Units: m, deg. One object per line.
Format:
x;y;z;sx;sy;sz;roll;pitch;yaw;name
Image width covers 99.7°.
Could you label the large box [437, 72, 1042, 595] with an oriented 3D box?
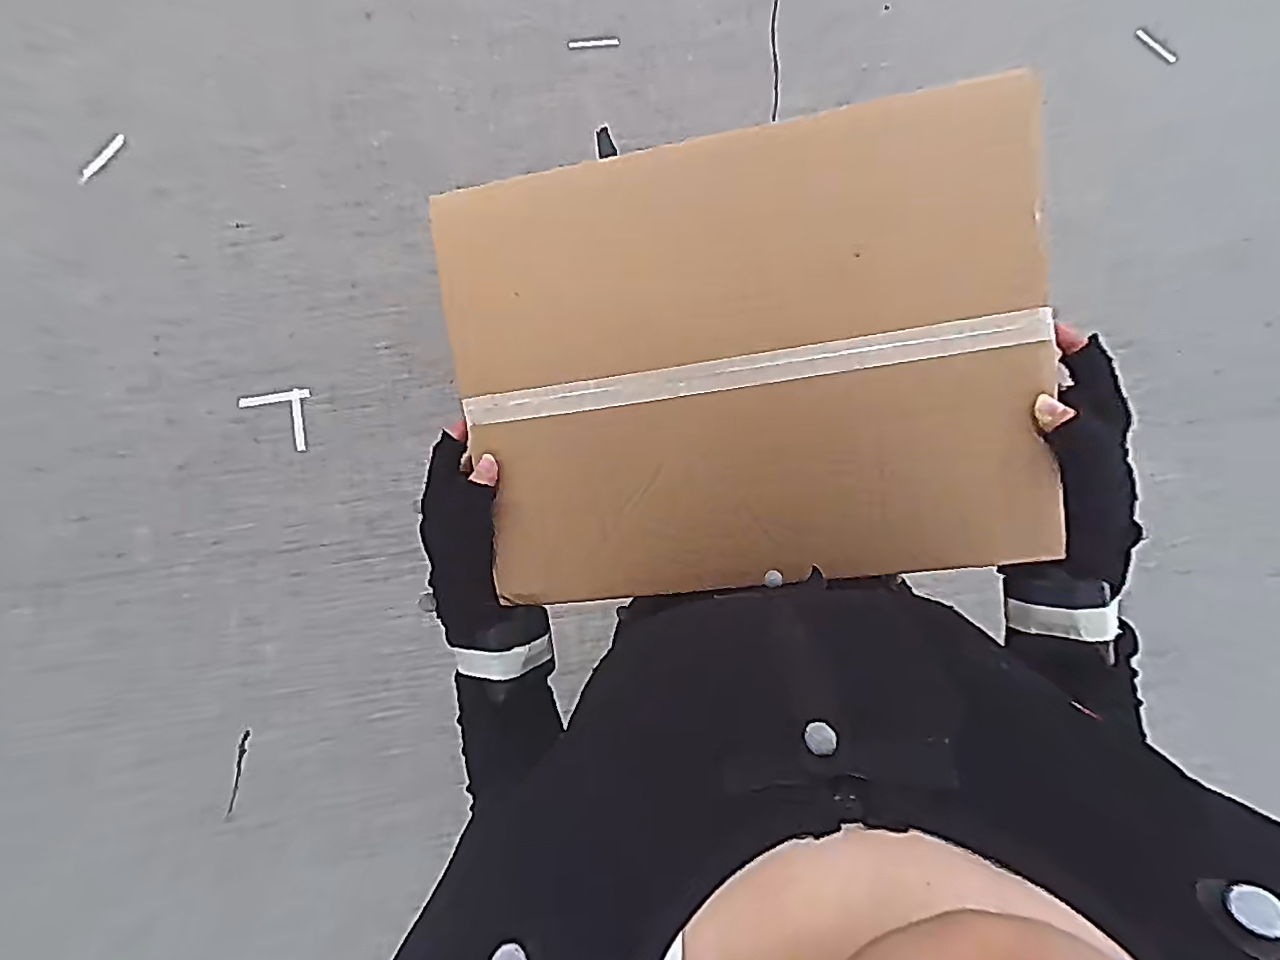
0.086;-0.104;0.533;0.408;0.320;0.320;-7;96;9;large box
